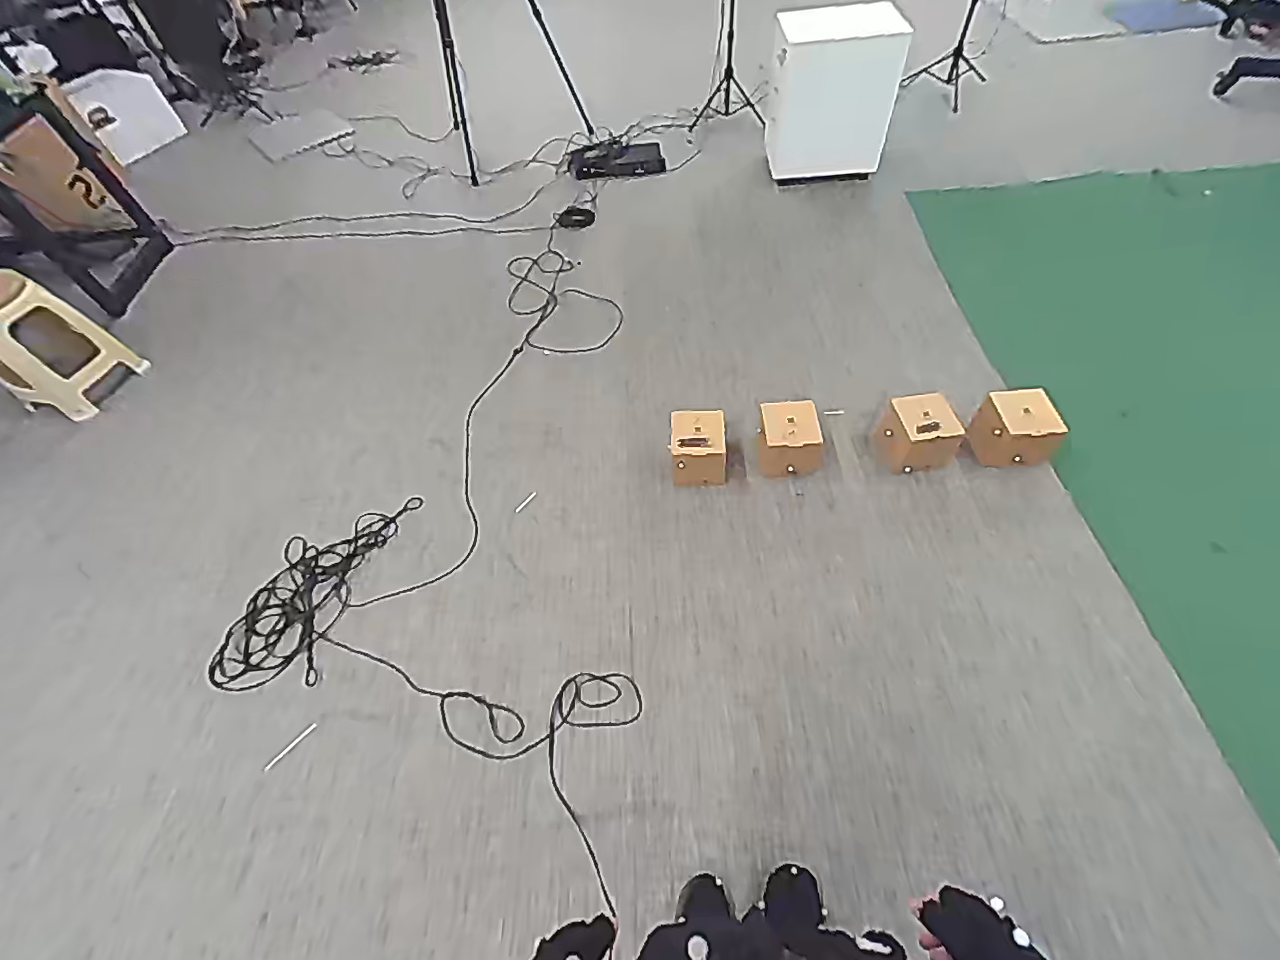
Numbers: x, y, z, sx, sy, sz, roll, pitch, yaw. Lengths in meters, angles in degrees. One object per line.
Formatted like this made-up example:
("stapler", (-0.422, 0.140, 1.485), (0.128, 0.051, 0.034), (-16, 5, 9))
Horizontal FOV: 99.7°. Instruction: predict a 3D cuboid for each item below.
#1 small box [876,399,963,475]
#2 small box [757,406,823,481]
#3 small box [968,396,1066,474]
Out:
("small box", (0.873, -0.128, 1.707), (0.168, 0.176, 0.179), (-6, 53, 0))
("small box", (0.472, -0.115, 1.729), (0.168, 0.176, 0.179), (-3, 55, 4))
("small box", (1.165, -0.138, 1.692), (0.168, 0.176, 0.179), (-4, 54, 3))
